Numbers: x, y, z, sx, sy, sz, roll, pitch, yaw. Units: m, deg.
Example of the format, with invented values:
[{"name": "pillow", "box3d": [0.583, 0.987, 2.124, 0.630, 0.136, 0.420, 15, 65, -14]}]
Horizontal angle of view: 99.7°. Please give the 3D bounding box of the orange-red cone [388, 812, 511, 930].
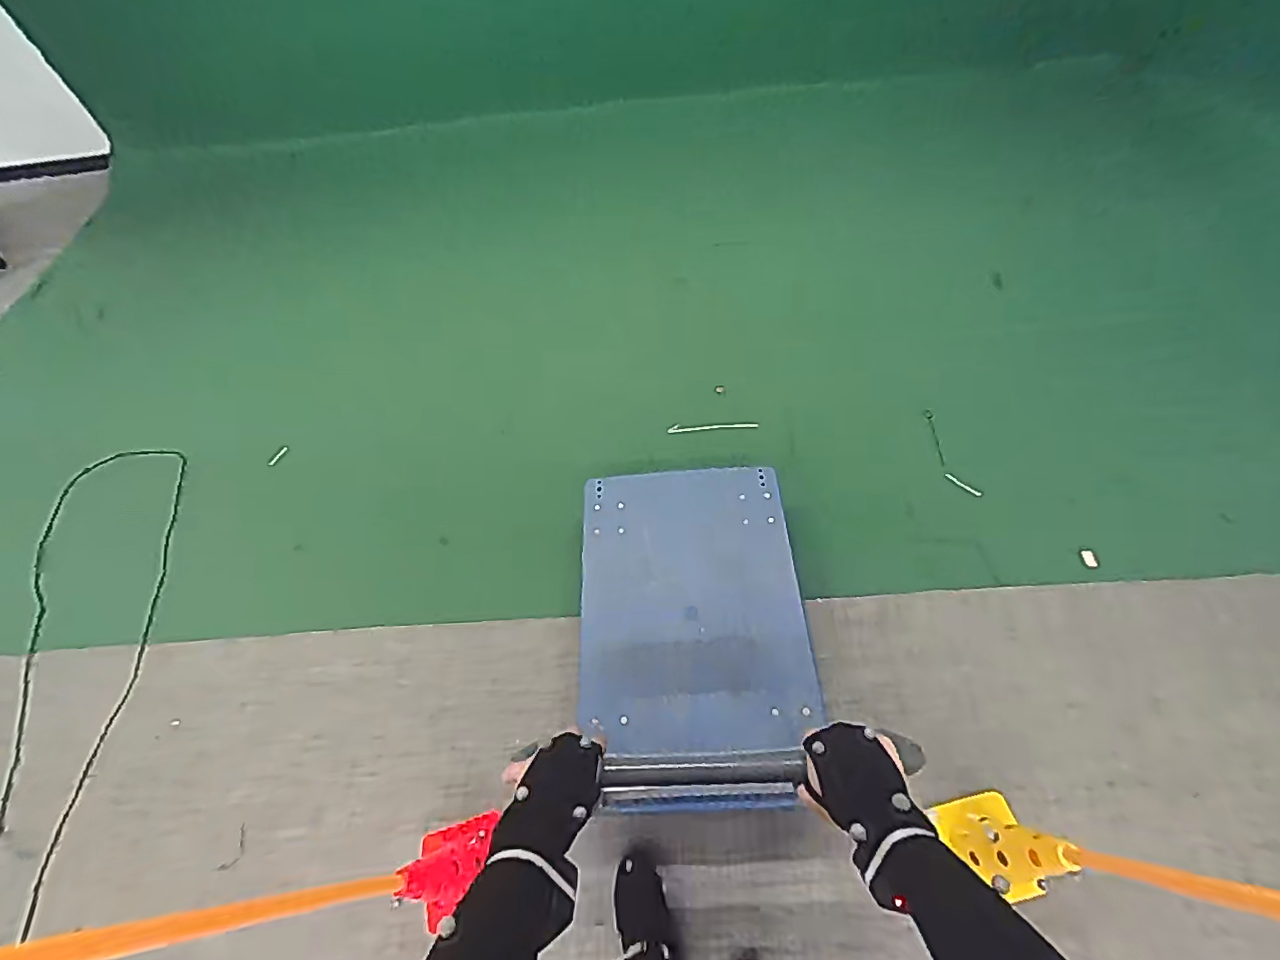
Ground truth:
[{"name": "orange-red cone", "box3d": [-0.425, 0.823, 1.127, 0.199, 0.360, 0.198, -17, 57, -4]}]
